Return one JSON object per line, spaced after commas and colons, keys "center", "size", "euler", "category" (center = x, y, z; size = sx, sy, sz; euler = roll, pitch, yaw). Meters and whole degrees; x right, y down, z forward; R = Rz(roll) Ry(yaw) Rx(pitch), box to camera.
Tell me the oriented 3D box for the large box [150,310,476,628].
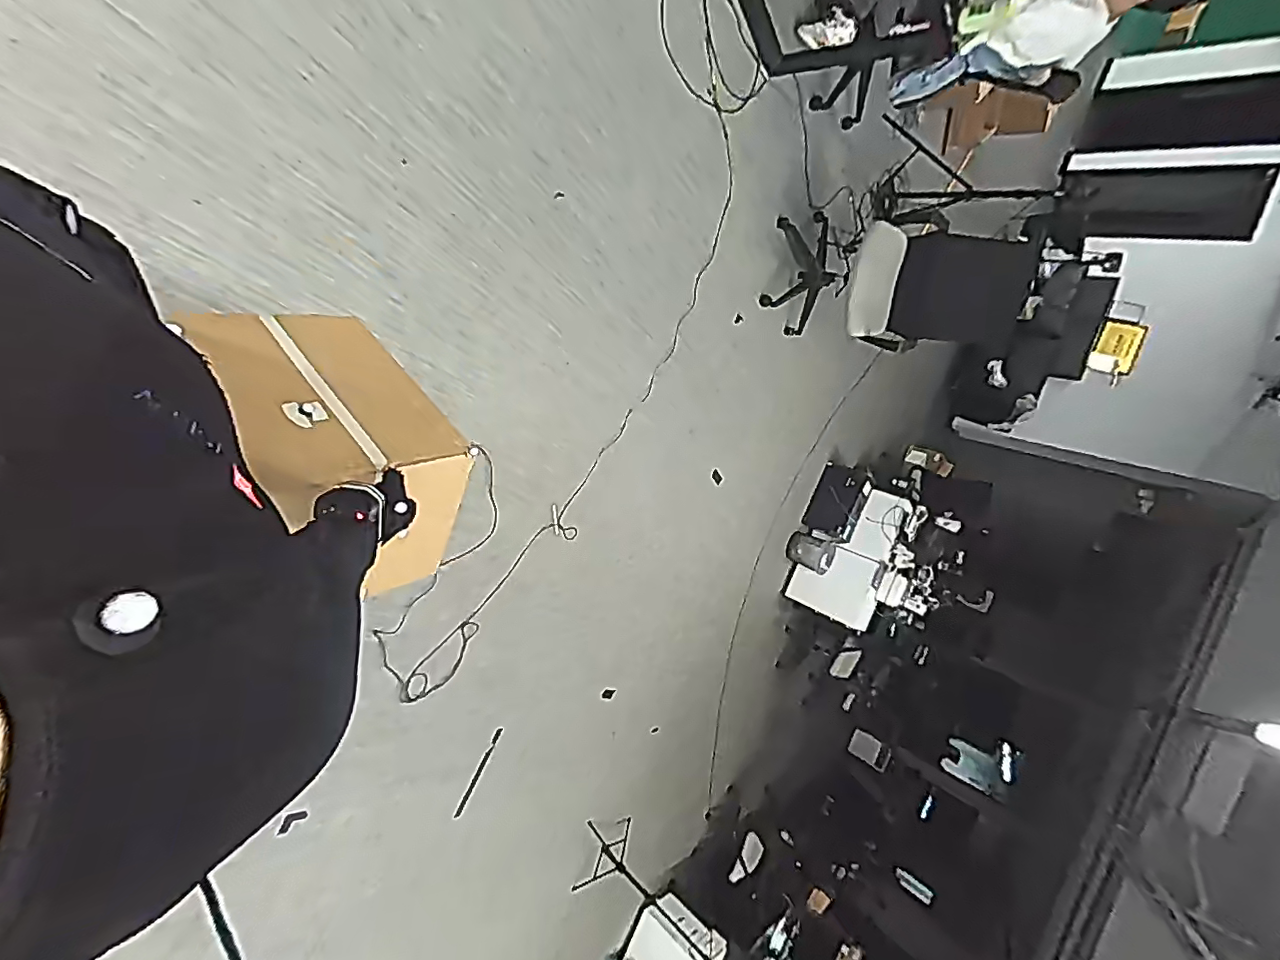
{"center": [-0.556, -0.040, 0.915], "size": [0.320, 0.408, 0.320], "euler": [-20, 149, -49], "category": "large box"}
